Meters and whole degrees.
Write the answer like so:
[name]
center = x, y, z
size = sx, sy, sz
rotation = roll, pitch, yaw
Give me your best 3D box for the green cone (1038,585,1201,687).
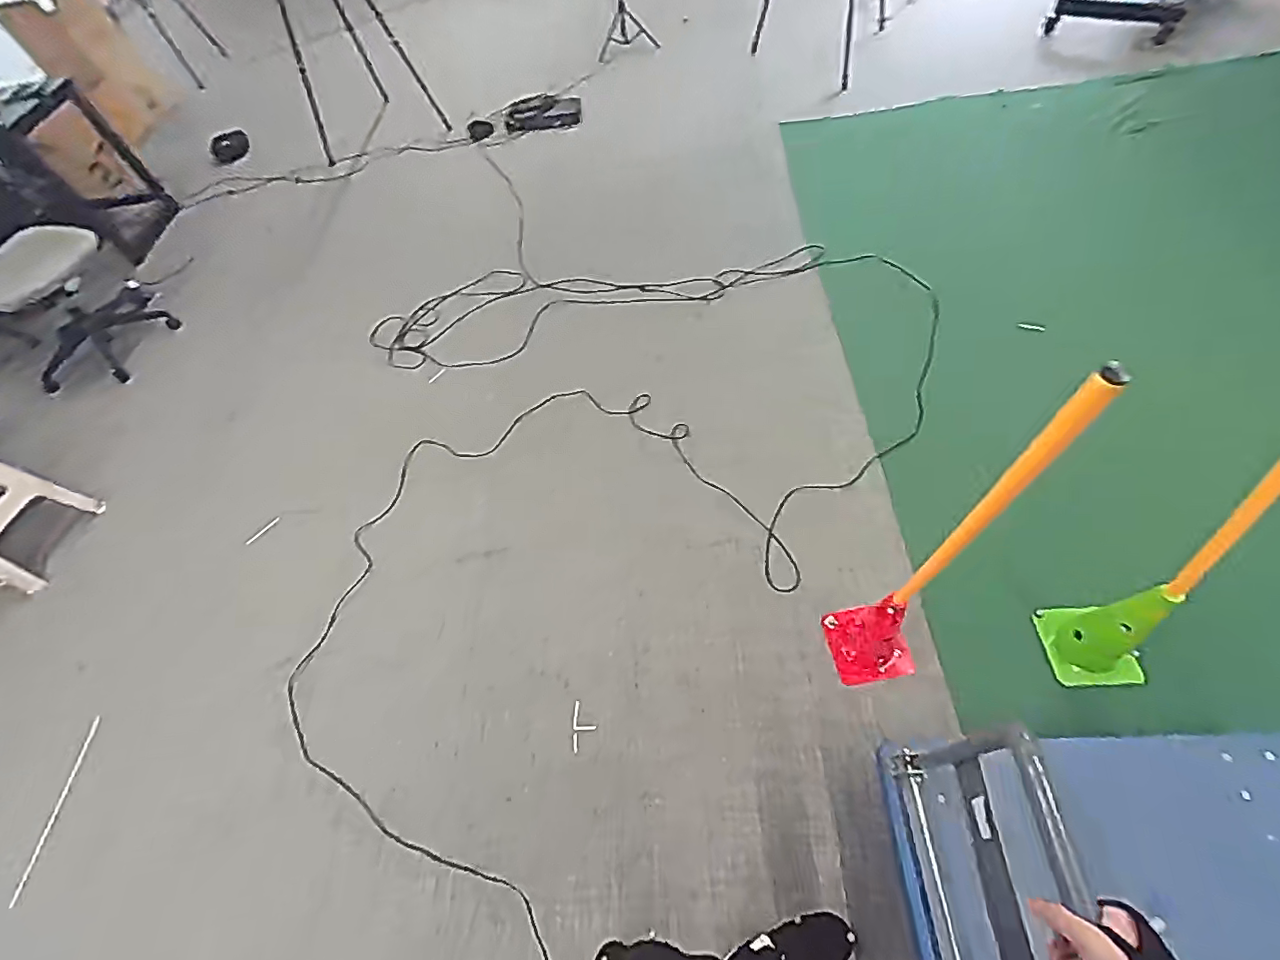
[green cone]
center = 1.141, 0.335, 1.251
size = 0.202, 0.368, 0.200
rotation = -4, 56, 6
